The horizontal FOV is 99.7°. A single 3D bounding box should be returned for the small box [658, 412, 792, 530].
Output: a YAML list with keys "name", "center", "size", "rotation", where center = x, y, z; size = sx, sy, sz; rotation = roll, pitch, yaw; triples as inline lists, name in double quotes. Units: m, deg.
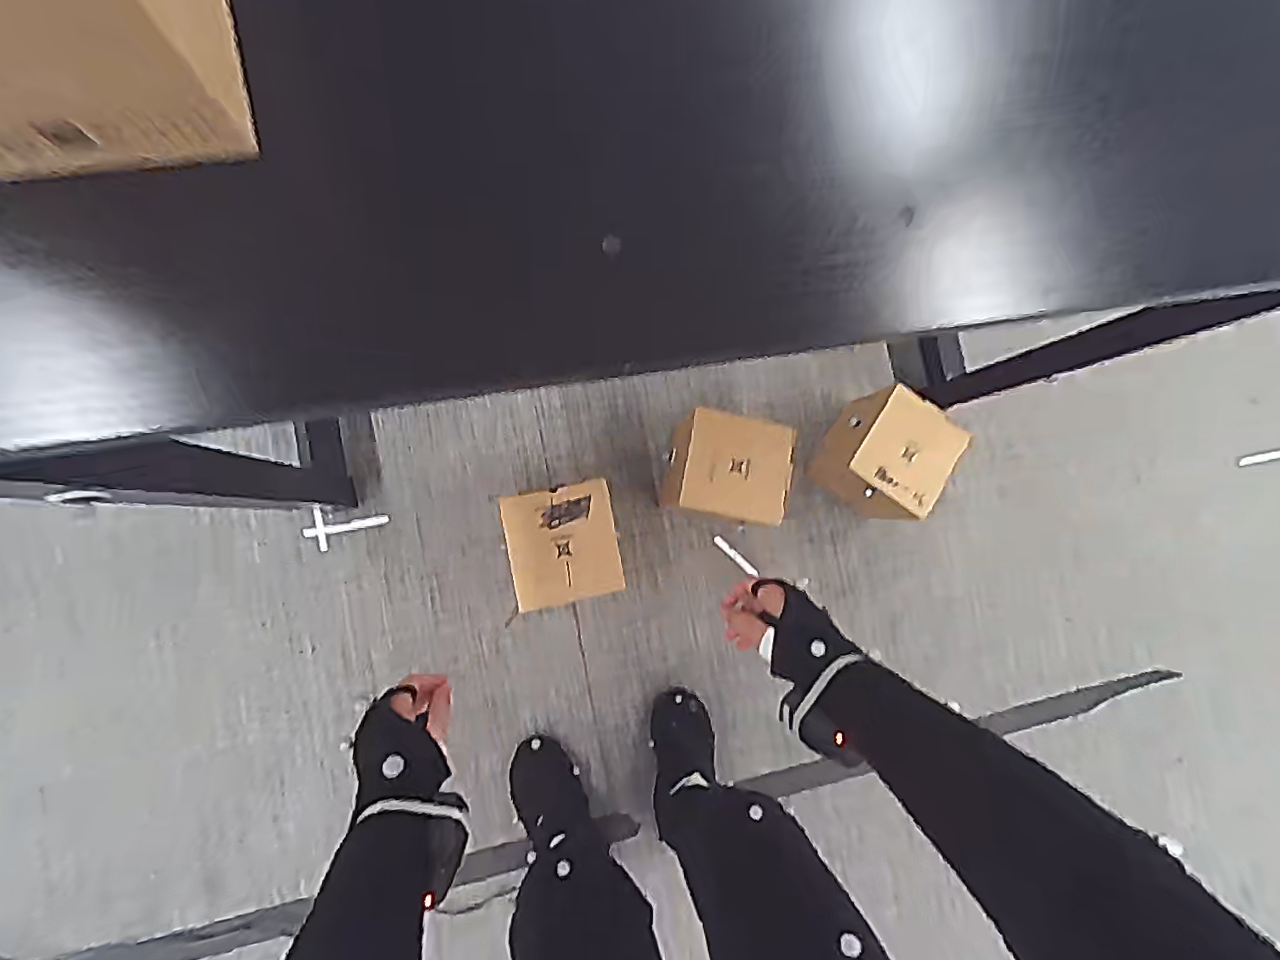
- name: "small box"
  center: [0.142, -0.008, 0.951]
  size: [0.179, 0.176, 0.168]
  rotation: [11, 83, -7]

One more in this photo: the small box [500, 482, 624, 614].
- name: "small box"
  center: [-0.131, 0.107, 0.895]
  size: [0.168, 0.176, 0.179]
  rotation: [-11, 89, -10]

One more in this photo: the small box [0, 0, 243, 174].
- name: "small box"
  center: [-0.257, -0.216, 0.159]
  size: [0.168, 0.176, 0.179]
  rotation: [-12, 87, -11]

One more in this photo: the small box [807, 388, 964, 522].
- name: "small box"
  center: [0.440, -0.037, 0.998]
  size: [0.168, 0.176, 0.179]
  rotation: [33, 81, -5]
